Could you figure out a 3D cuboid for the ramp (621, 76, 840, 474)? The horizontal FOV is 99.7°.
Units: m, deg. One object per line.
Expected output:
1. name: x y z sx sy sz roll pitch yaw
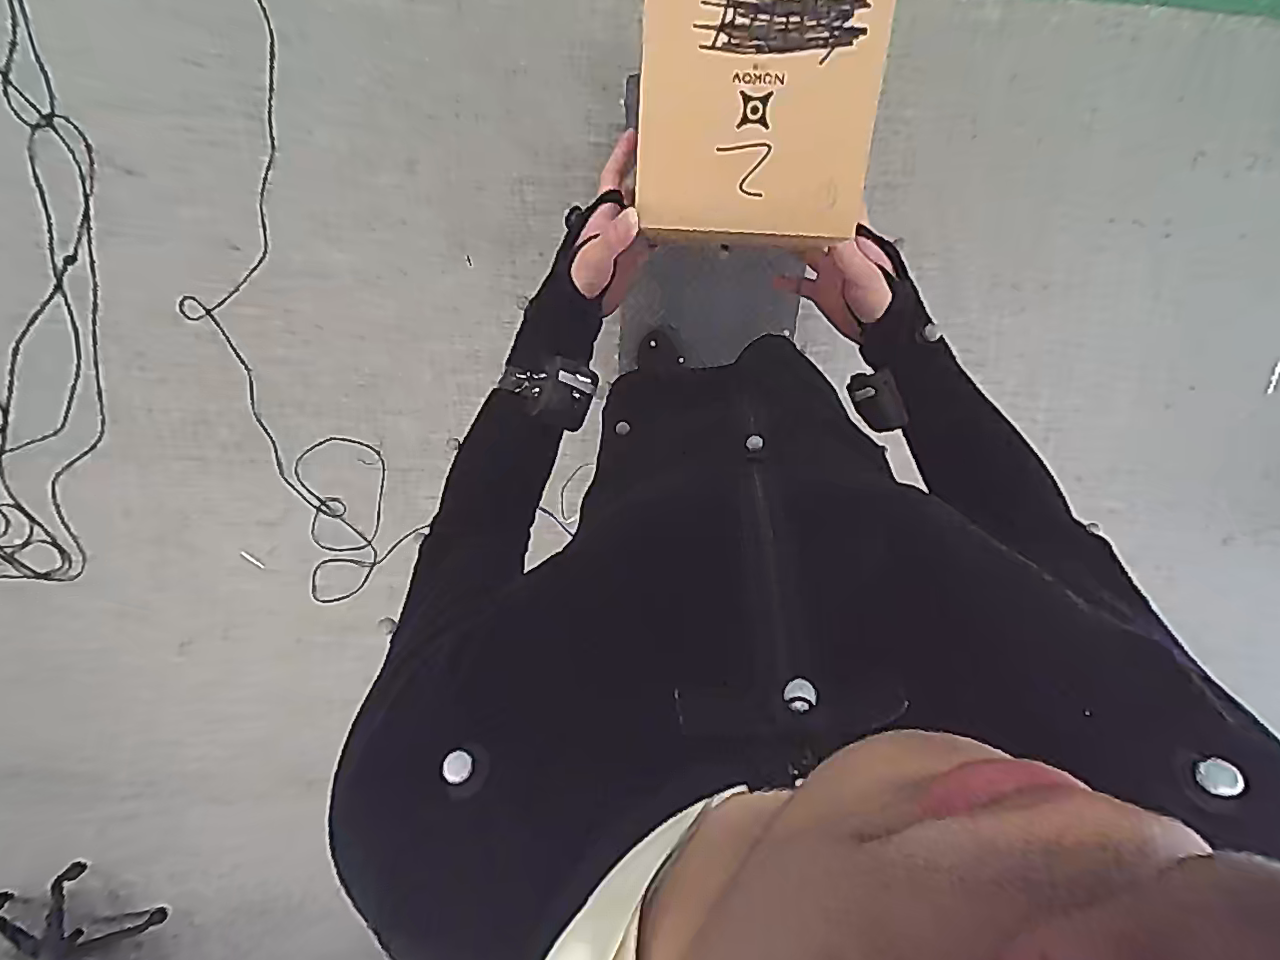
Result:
1. ramp: 0.202 -0.474 1.462 0.509 0.206 0.991 0 106 -1
